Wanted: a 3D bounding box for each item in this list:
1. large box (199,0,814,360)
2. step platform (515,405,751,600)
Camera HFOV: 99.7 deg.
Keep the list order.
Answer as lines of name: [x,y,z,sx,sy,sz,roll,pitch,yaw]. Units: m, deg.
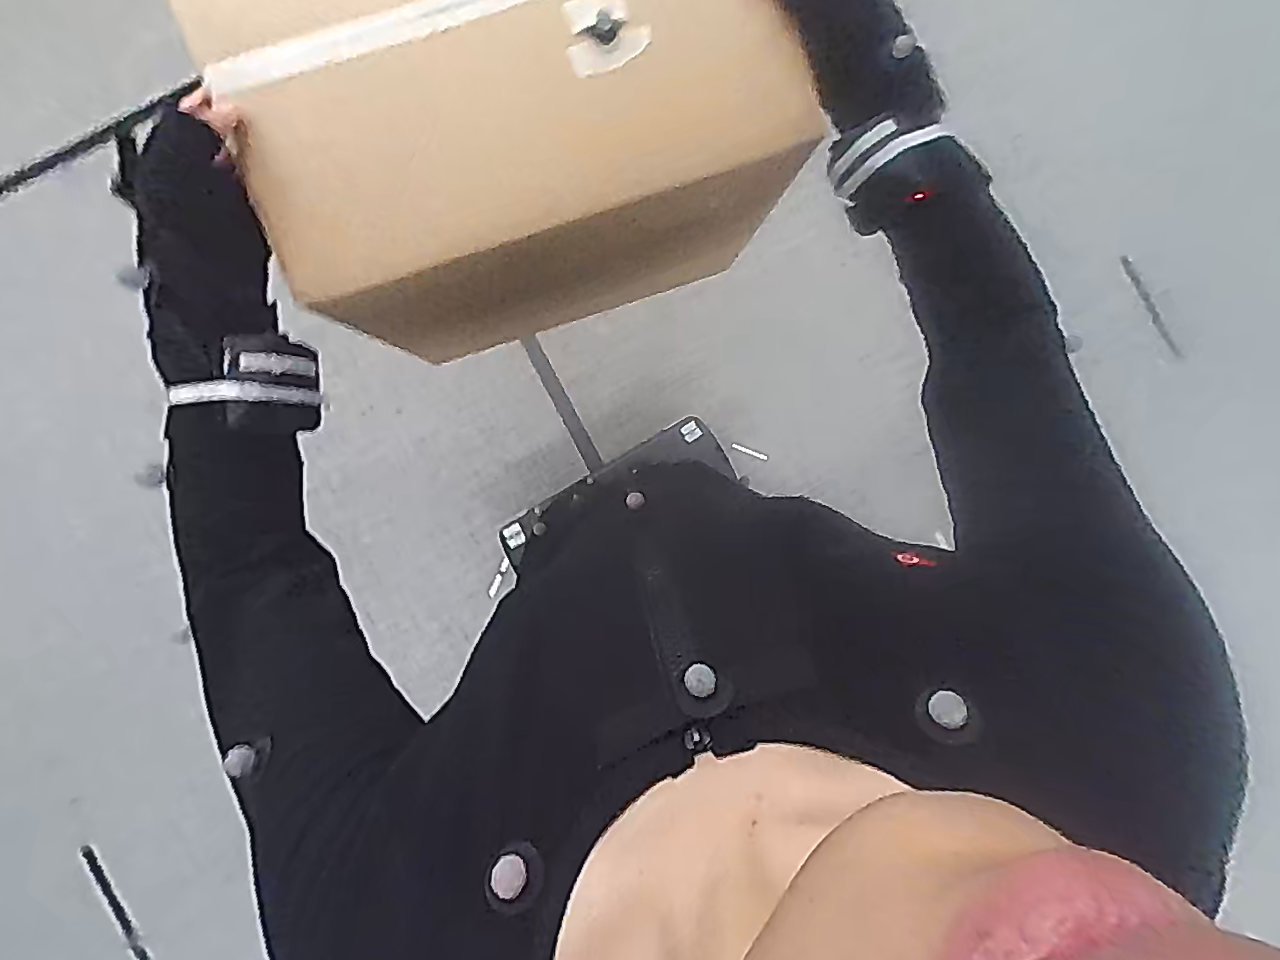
large box: [-0.112,-0.349,0.539,0.408,0.320,0.320,-20,96,-3]
step platform: [-0.020,0.061,1.584,0.684,0.204,0.286,-32,91,-3]
